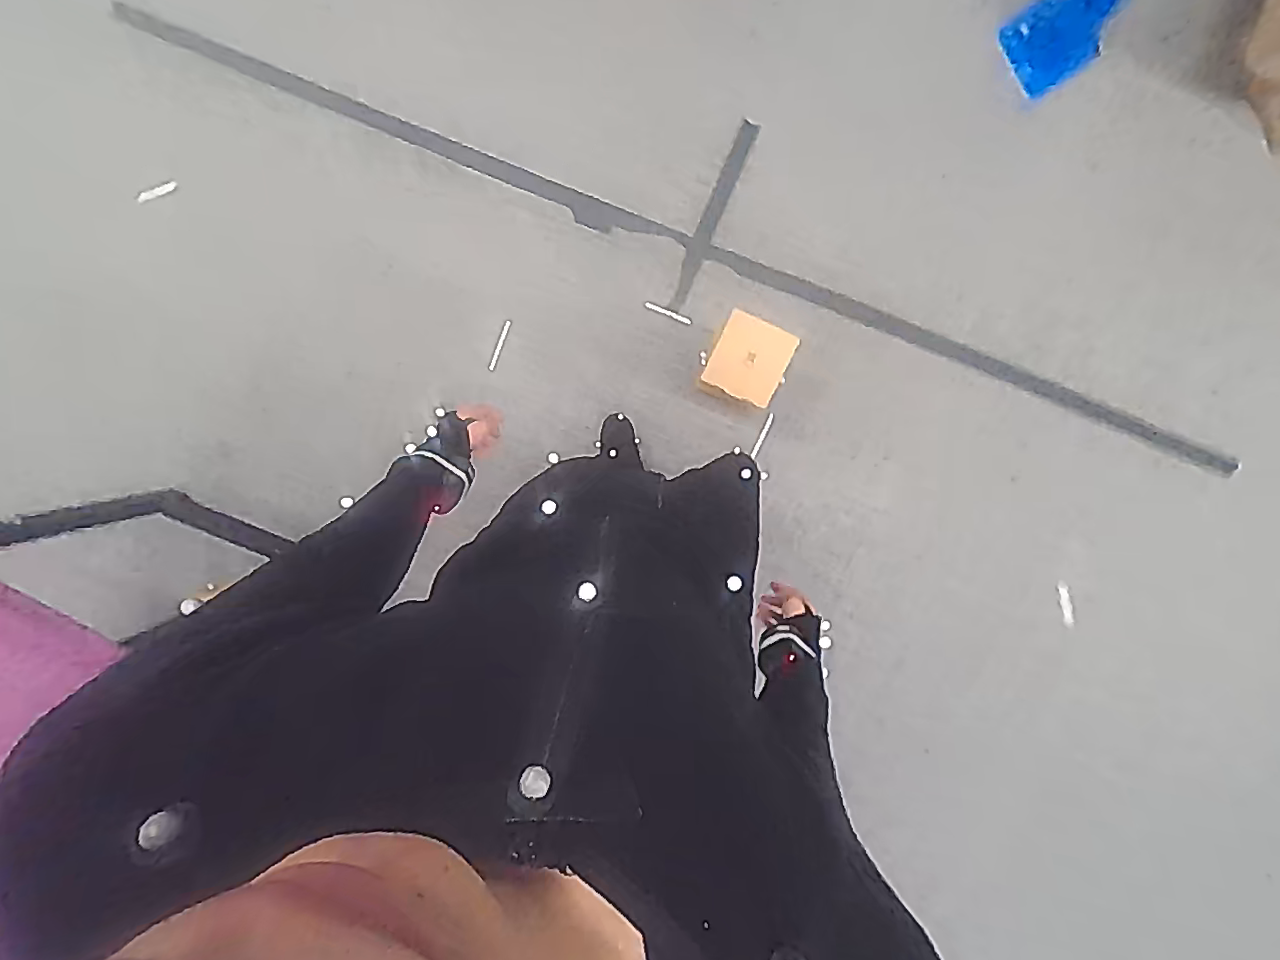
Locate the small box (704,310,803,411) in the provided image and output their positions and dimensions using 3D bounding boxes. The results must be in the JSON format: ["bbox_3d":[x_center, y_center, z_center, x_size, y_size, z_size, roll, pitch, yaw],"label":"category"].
[{"bbox_3d":[0.259,-0.281,1.292,0.168,0.176,0.179,25,101,-1],"label":"small box"}]

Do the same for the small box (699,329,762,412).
[{"bbox_3d":[0.269,-0.295,1.455,0.179,0.176,0.168,21,100,1],"label":"small box"}]
